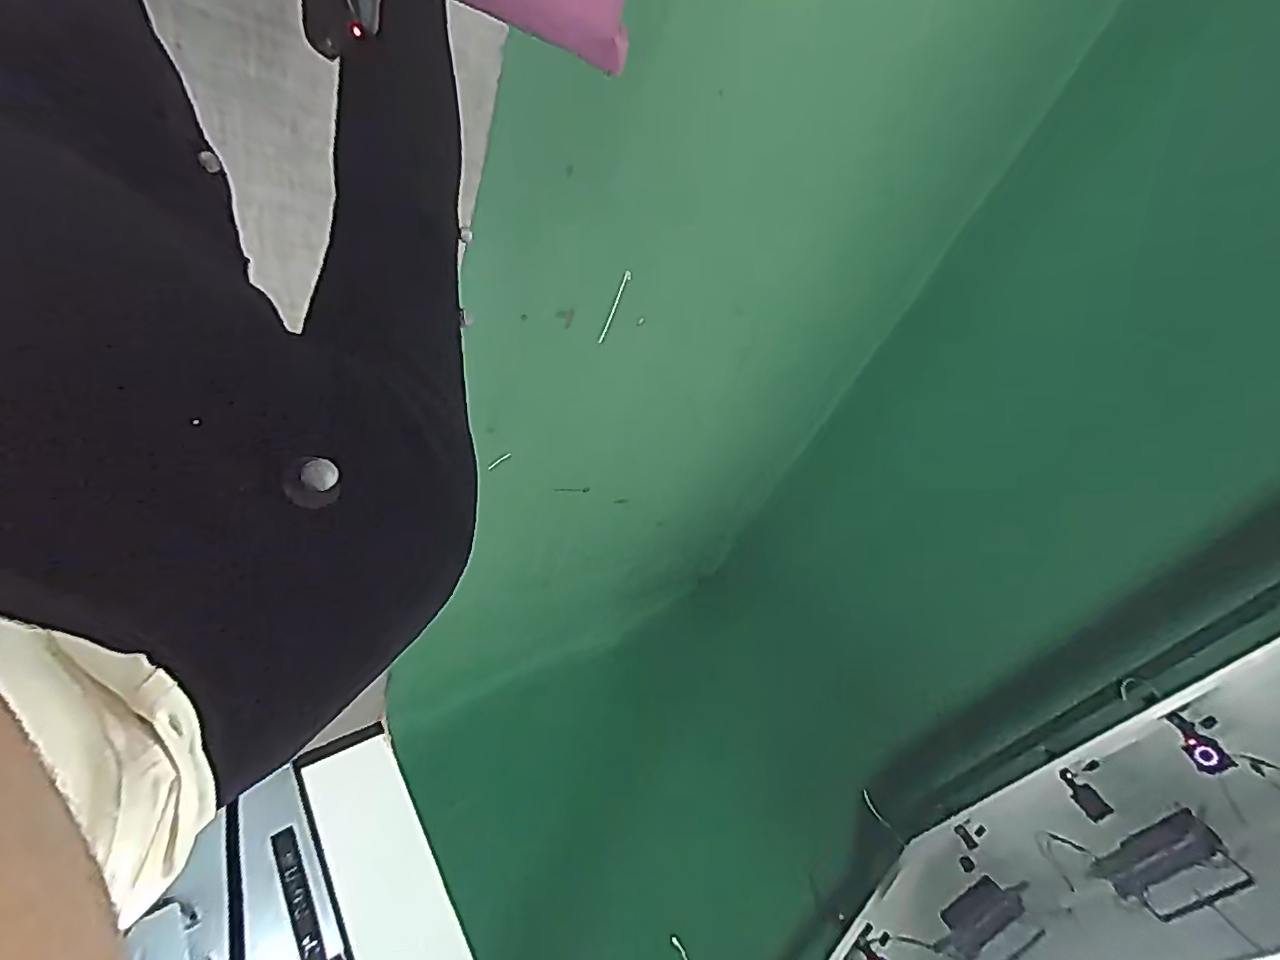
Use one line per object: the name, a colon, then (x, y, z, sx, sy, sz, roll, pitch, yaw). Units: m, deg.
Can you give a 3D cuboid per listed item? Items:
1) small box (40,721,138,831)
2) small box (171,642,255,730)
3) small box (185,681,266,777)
small box: (-1.426, 0.753, 1.400, 0.168, 0.176, 0.179, -4, 136, -47)
small box: (-1.333, 0.634, 1.687, 0.179, 0.176, 0.168, -7, 137, -46)
small box: (-1.234, 0.733, 1.606, 0.168, 0.176, 0.179, -7, 137, -45)
